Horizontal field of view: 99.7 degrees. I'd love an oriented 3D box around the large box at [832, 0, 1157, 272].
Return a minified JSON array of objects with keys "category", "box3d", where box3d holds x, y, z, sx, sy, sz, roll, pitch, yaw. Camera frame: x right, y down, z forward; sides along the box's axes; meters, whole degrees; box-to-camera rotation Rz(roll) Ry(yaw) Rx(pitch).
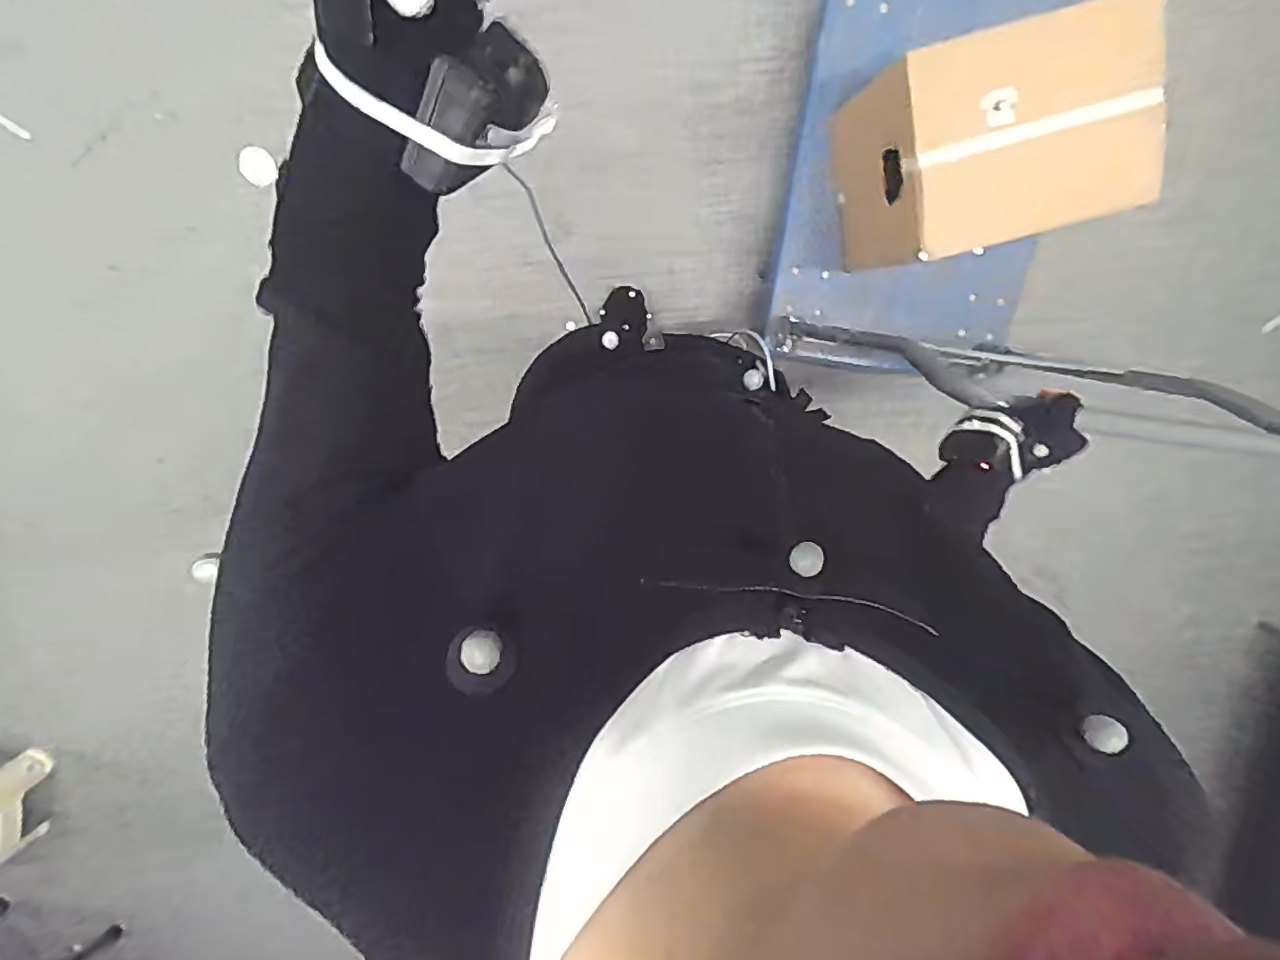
[{"category":"large box","box3d":[0.630,-0.608,1.018,0.408,0.320,0.320,-15,107,3]}]
